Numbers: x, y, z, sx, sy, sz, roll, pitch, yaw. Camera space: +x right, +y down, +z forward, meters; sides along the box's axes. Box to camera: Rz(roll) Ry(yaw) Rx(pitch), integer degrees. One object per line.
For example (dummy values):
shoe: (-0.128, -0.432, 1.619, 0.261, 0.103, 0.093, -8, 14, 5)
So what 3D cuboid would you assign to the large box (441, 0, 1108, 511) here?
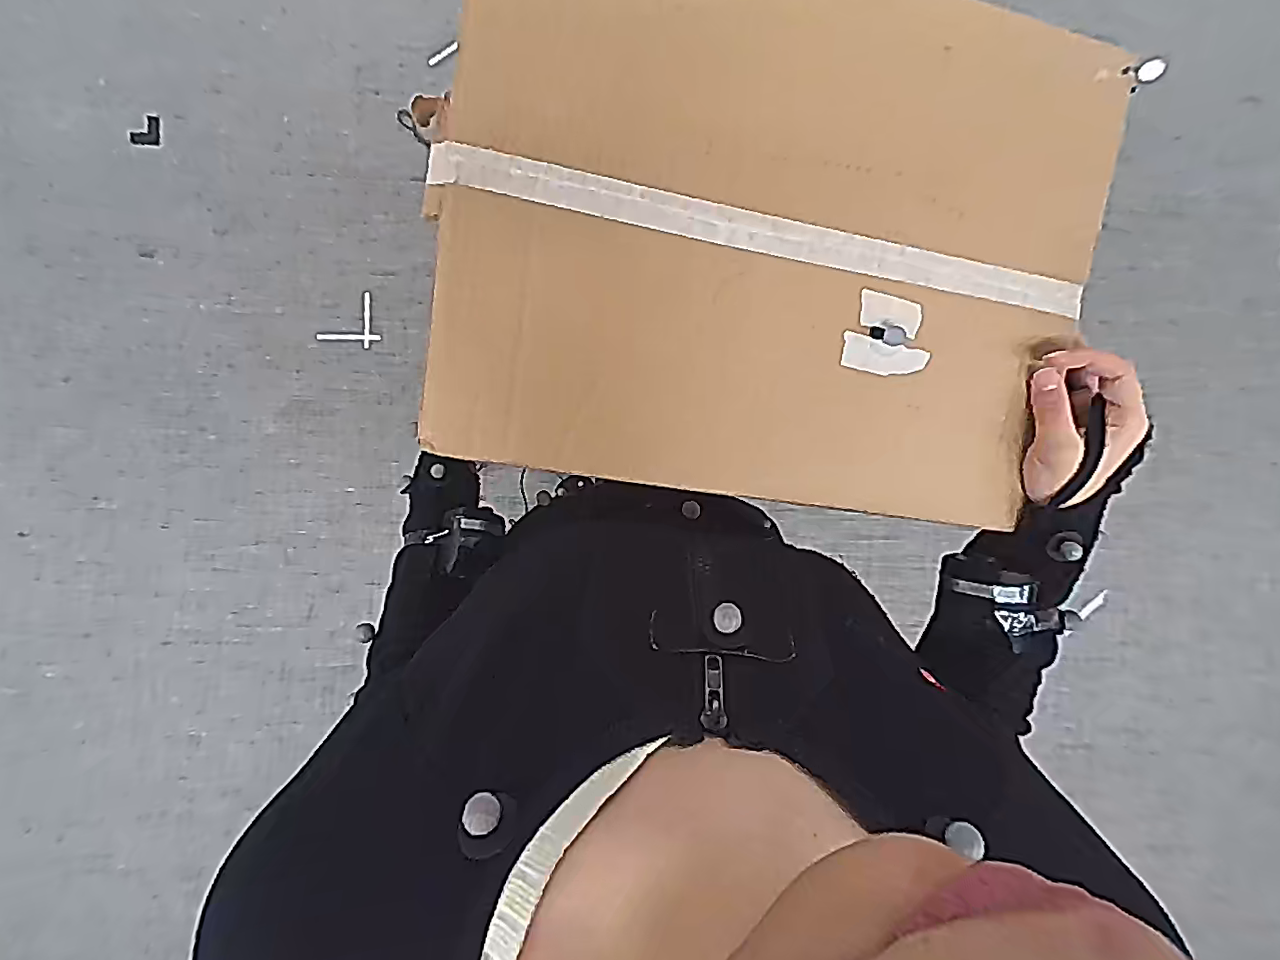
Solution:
large box: (0.068, -0.169, 0.478, 0.408, 0.320, 0.320, 7, 98, -12)
